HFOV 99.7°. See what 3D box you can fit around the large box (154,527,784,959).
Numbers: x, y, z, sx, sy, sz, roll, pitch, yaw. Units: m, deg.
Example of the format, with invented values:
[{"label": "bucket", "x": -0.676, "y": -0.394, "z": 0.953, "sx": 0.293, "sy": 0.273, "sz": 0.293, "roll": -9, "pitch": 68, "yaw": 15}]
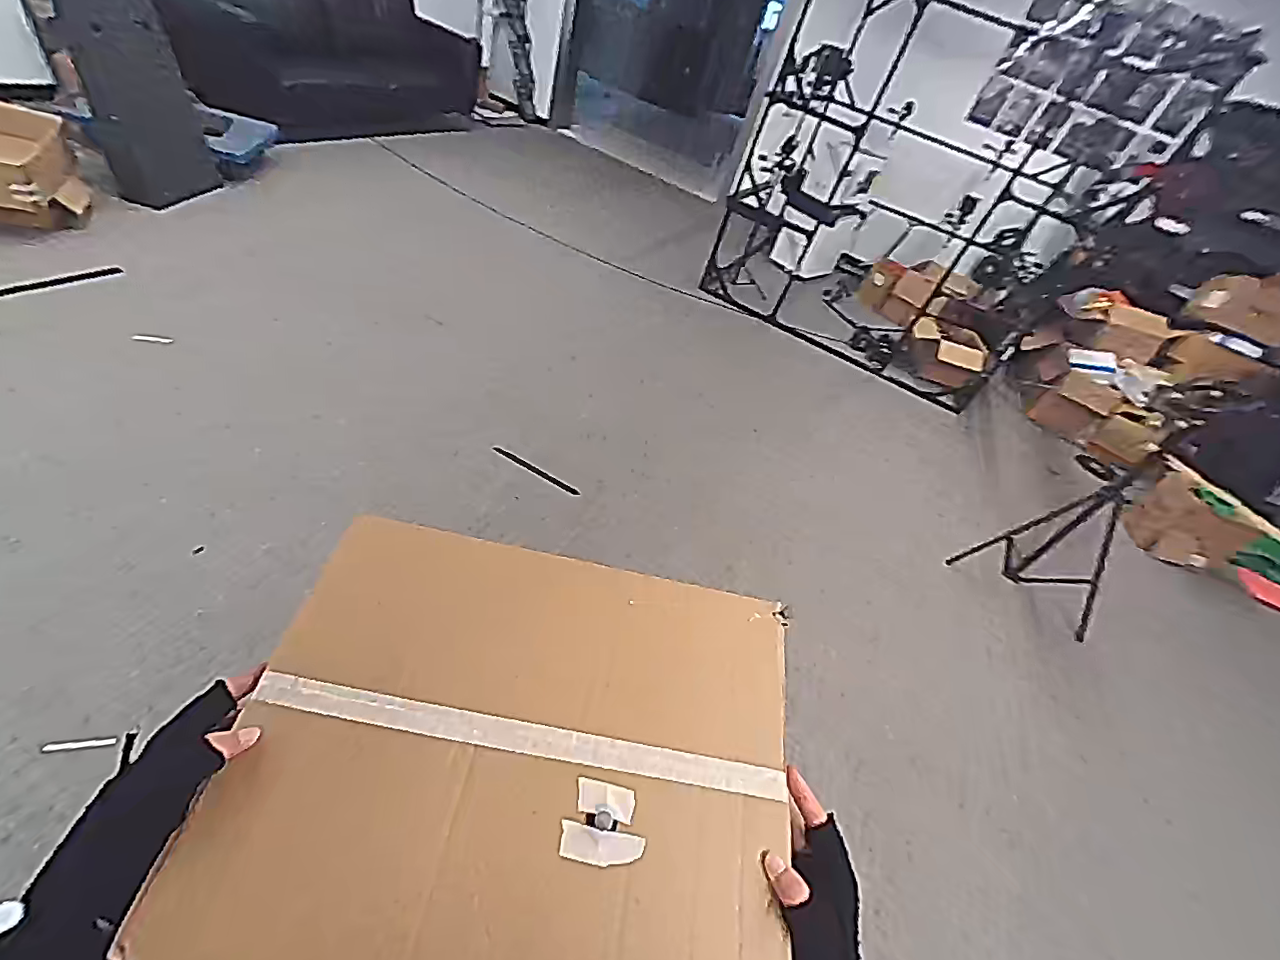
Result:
[{"label": "large box", "x": -0.107, "y": 0.290, "z": 0.541, "sx": 0.408, "sy": 0.320, "sz": 0.320, "roll": 13, "pitch": 52, "yaw": -3}]
